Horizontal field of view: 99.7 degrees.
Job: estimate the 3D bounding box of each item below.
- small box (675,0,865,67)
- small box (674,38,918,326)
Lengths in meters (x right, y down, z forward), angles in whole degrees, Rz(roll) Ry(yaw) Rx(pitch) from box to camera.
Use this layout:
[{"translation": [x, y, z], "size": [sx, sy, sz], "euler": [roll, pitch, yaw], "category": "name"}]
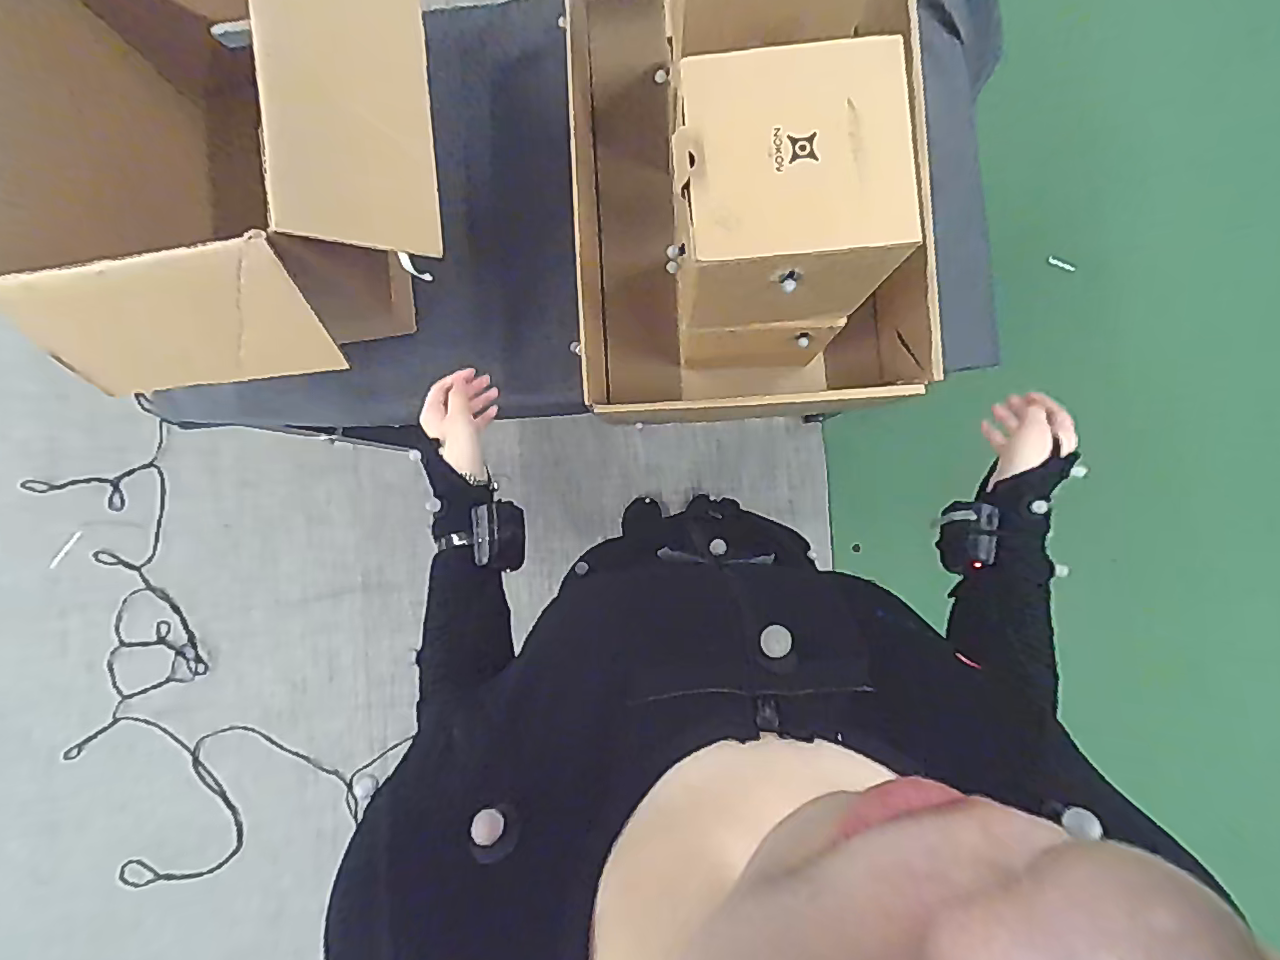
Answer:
[{"translation": [0.116, -0.505, 0.502], "size": [0.168, 0.176, 0.179], "euler": [-2, 90, 3], "category": "small box"}, {"translation": [0.124, -0.251, 0.499], "size": [0.179, 0.176, 0.168], "euler": [-5, 88, 2], "category": "small box"}]
